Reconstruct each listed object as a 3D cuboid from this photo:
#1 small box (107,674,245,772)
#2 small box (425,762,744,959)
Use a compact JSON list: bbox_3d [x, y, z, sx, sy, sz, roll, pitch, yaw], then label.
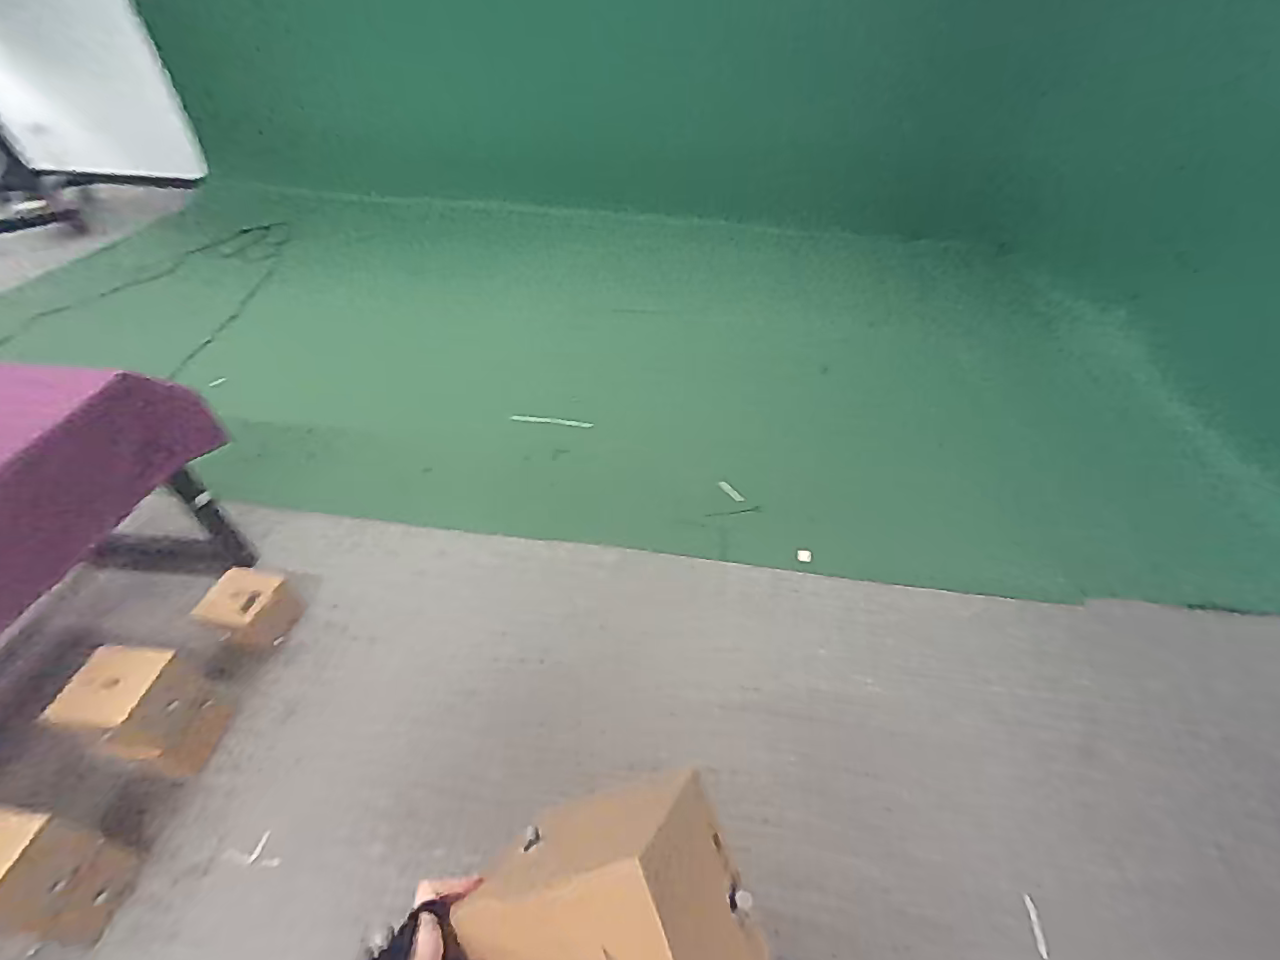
[{"bbox_3d":[-1.157,0.619,1.369,0.168,0.176,0.179,5,45,4],"label":"small box"},{"bbox_3d":[-0.034,0.365,0.444,0.179,0.176,0.168,-26,77,15],"label":"small box"}]
